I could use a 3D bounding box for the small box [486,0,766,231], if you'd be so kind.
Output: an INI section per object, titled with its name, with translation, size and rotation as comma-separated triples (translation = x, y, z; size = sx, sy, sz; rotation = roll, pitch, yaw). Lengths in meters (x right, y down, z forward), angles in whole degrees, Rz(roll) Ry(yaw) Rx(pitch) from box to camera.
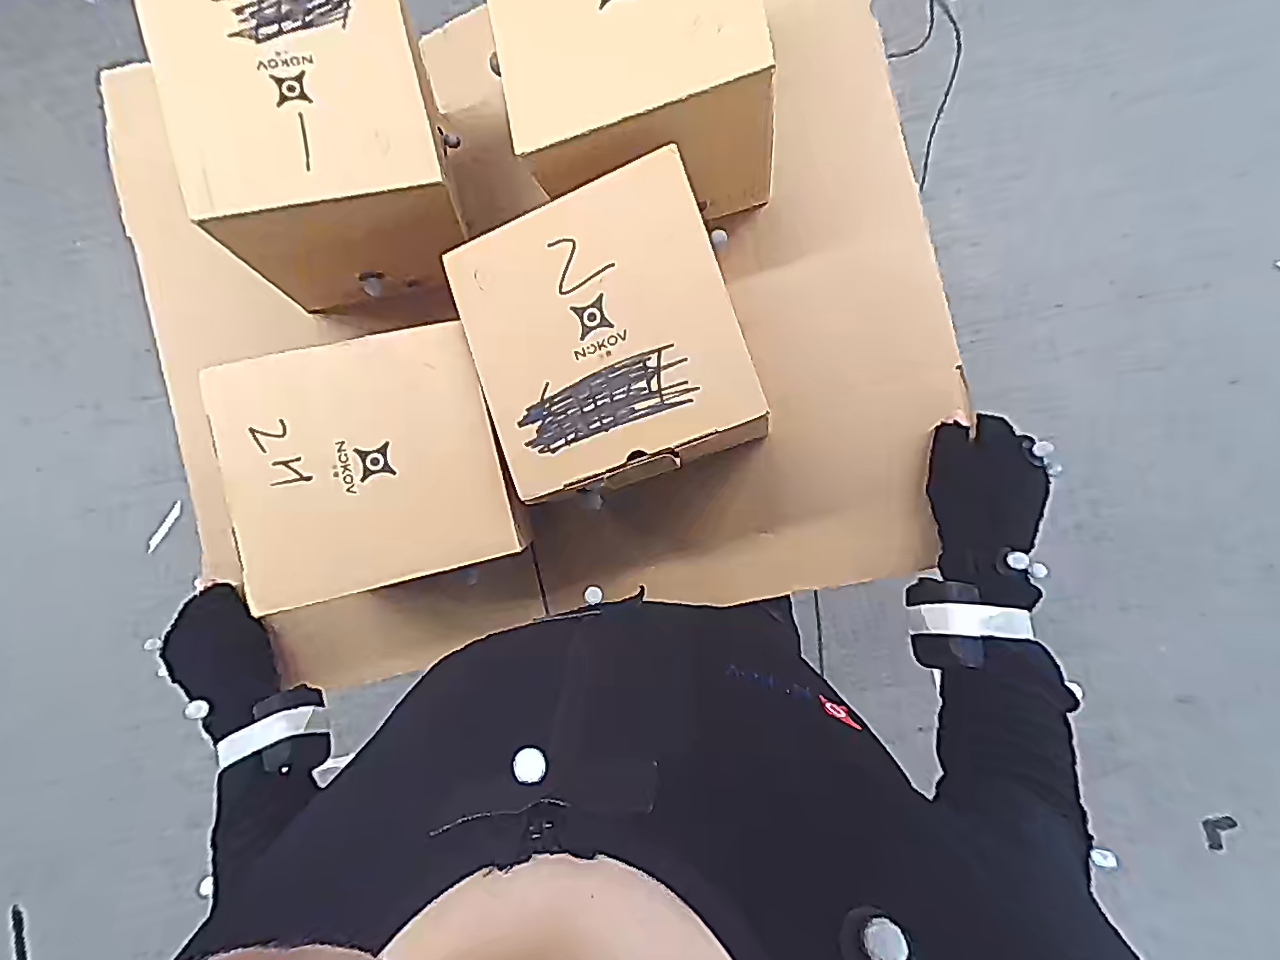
[small box]
translation = -0.001, -0.315, 0.409
size = 0.168, 0.176, 0.179
rotation = -11, 87, 13
